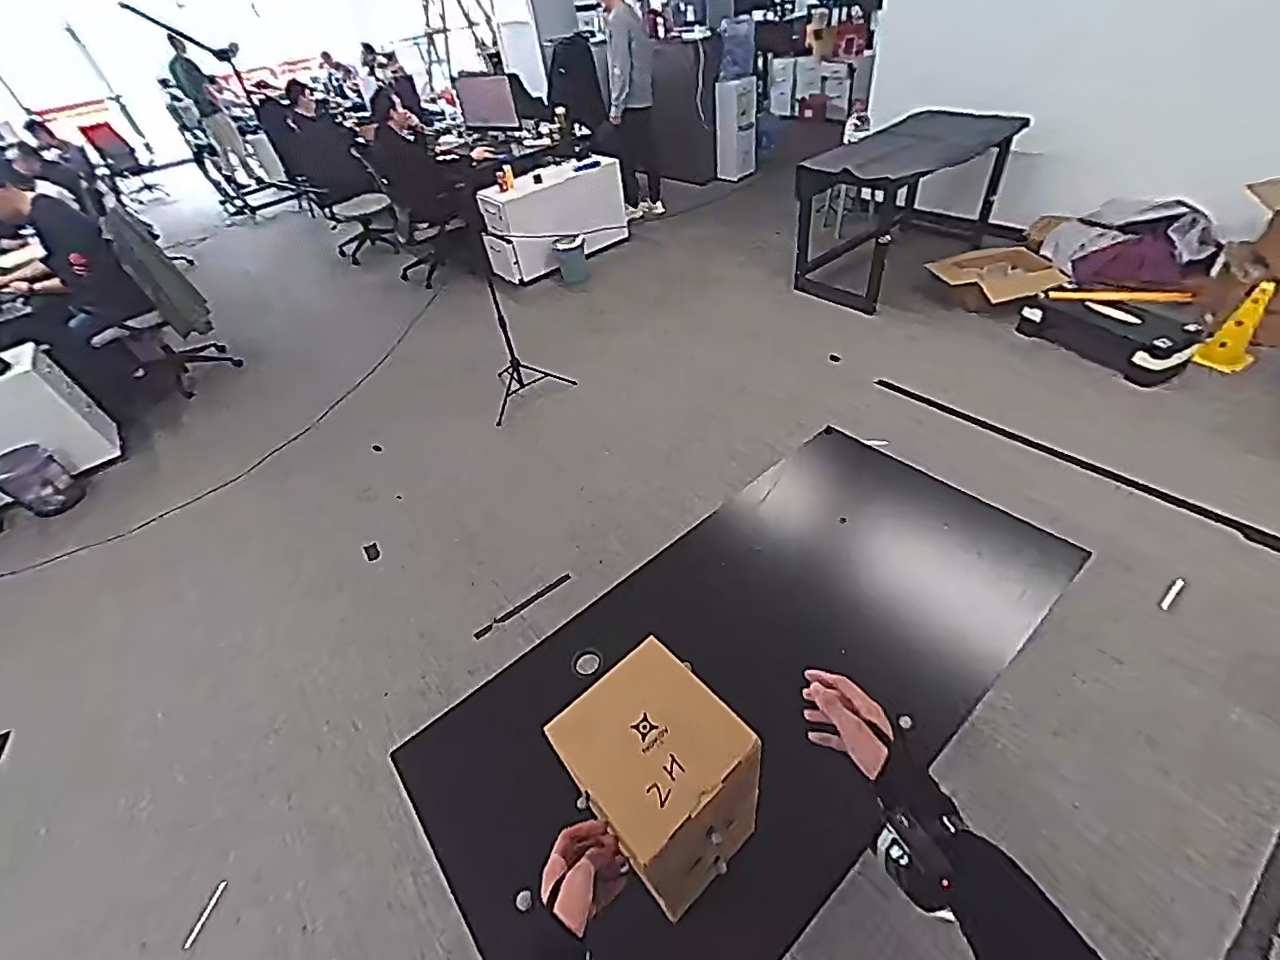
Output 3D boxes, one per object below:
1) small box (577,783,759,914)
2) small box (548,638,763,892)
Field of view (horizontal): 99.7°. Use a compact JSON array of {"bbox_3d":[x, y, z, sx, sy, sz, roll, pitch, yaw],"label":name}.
[{"bbox_3d":[0.043,0.450,0.741,0.168,0.176,0.179,-35,49,-24],"label":"small box"},{"bbox_3d":[0.021,0.329,0.629,0.168,0.176,0.179,-35,49,-24],"label":"small box"}]
